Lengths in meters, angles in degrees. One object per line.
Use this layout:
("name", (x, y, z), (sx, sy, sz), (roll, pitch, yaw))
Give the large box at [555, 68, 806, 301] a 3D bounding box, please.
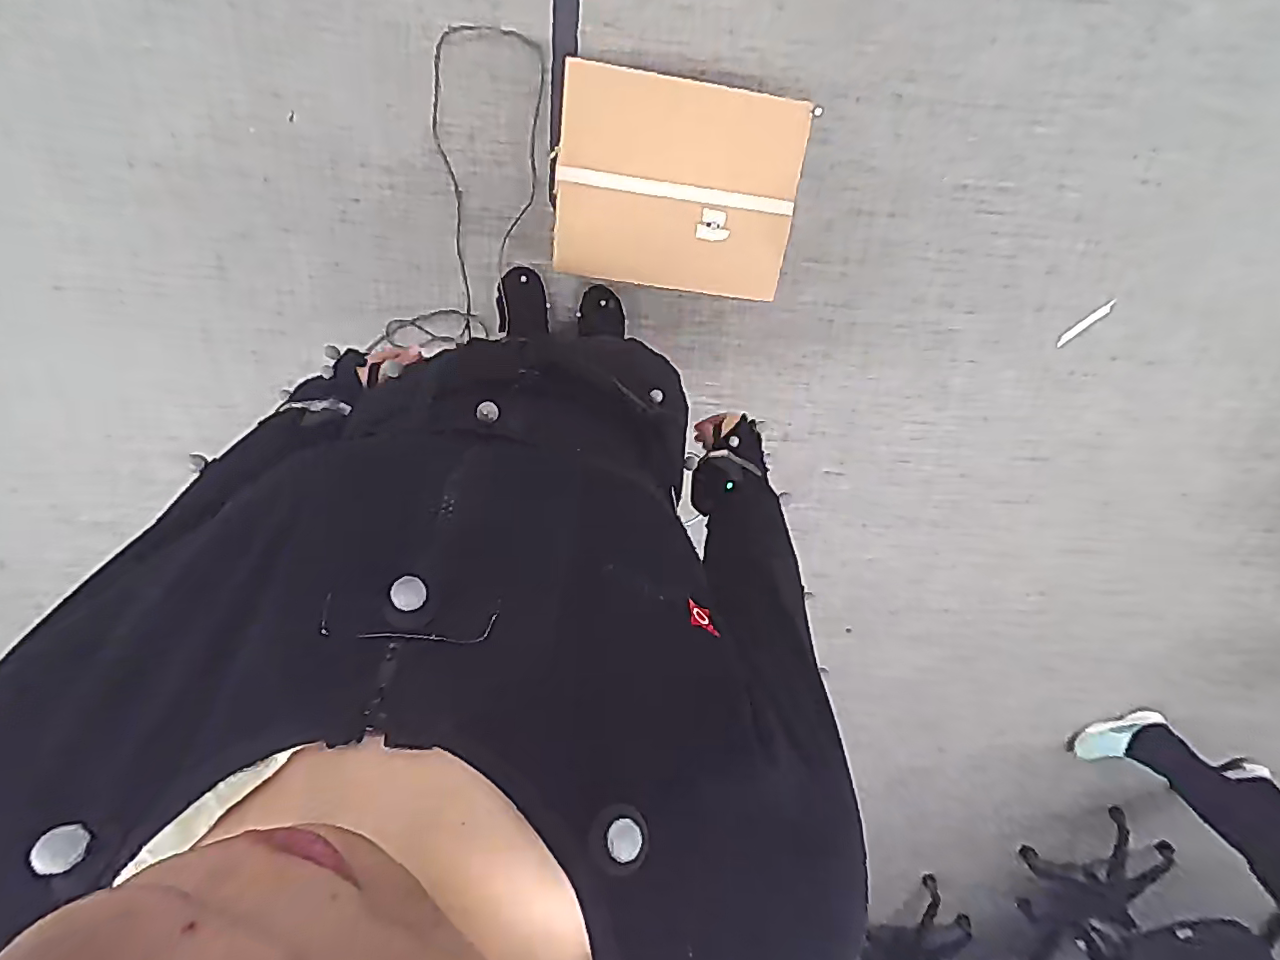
("large box", (0.045, -0.543, 1.053), (0.408, 0.320, 0.320), (5, 114, -8))
